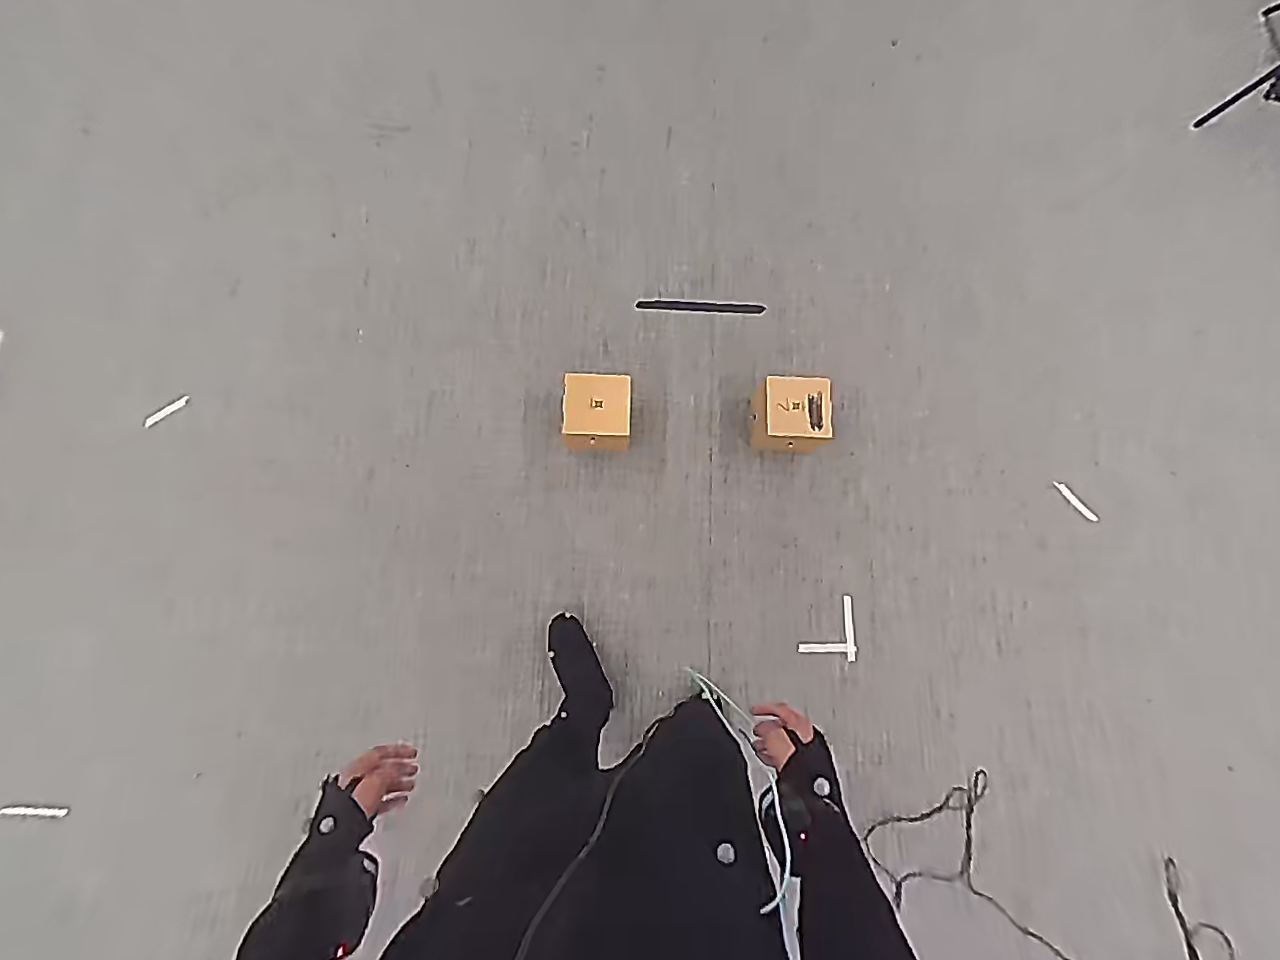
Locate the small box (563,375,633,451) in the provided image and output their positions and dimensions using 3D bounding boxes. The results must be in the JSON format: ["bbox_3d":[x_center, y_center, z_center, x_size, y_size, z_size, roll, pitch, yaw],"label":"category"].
[{"bbox_3d":[-0.112,-0.178,1.481,0.179,0.176,0.168,2,79,-2],"label":"small box"}]
